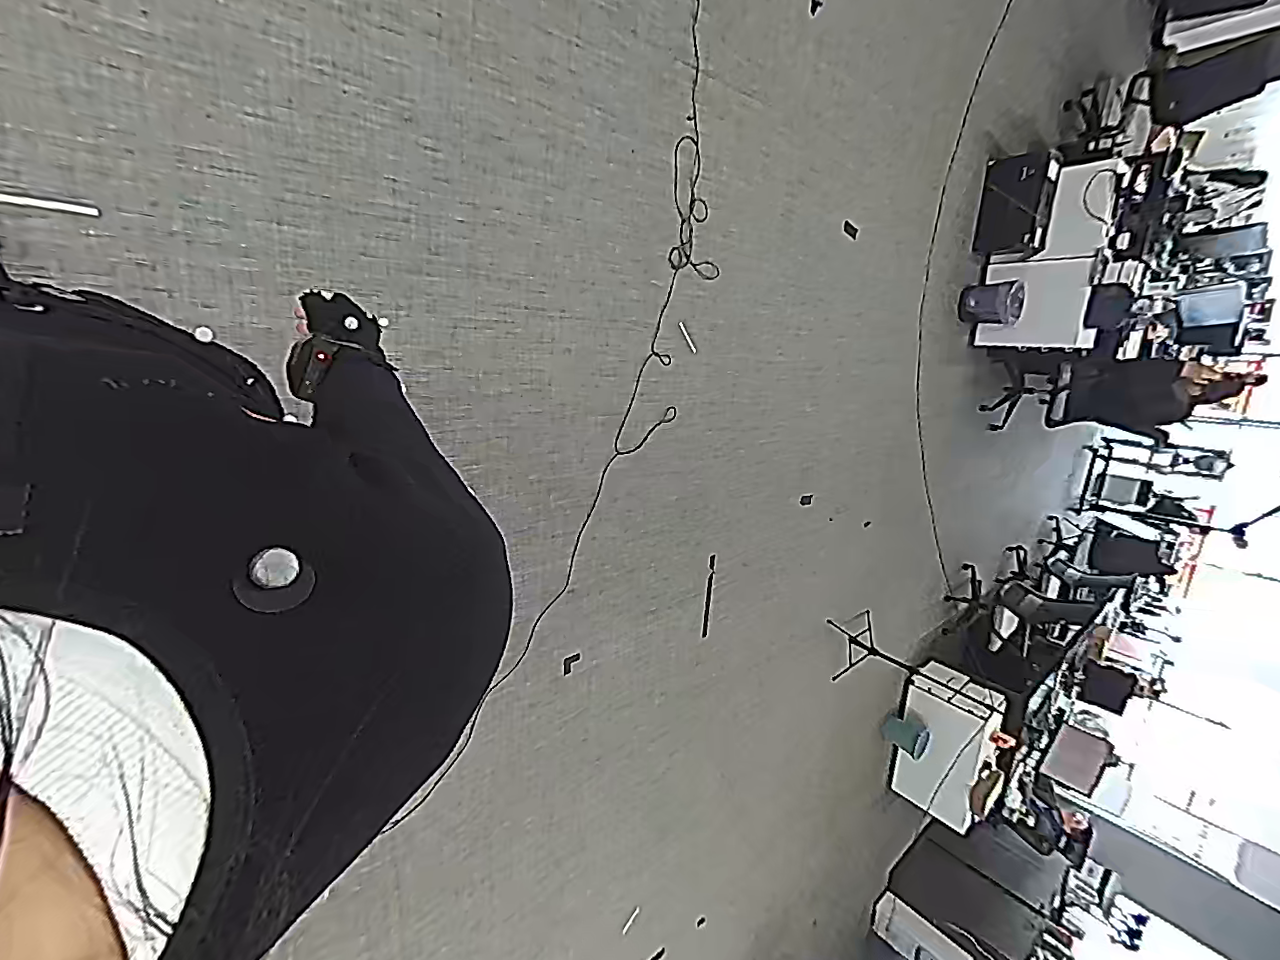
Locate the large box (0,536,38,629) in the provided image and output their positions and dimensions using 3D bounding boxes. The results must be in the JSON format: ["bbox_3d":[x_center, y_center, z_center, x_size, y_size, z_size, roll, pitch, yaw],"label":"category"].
[{"bbox_3d":[-0.952,0.043,0.521,0.320,0.408,0.320,-40,160,-28],"label":"large box"}]
